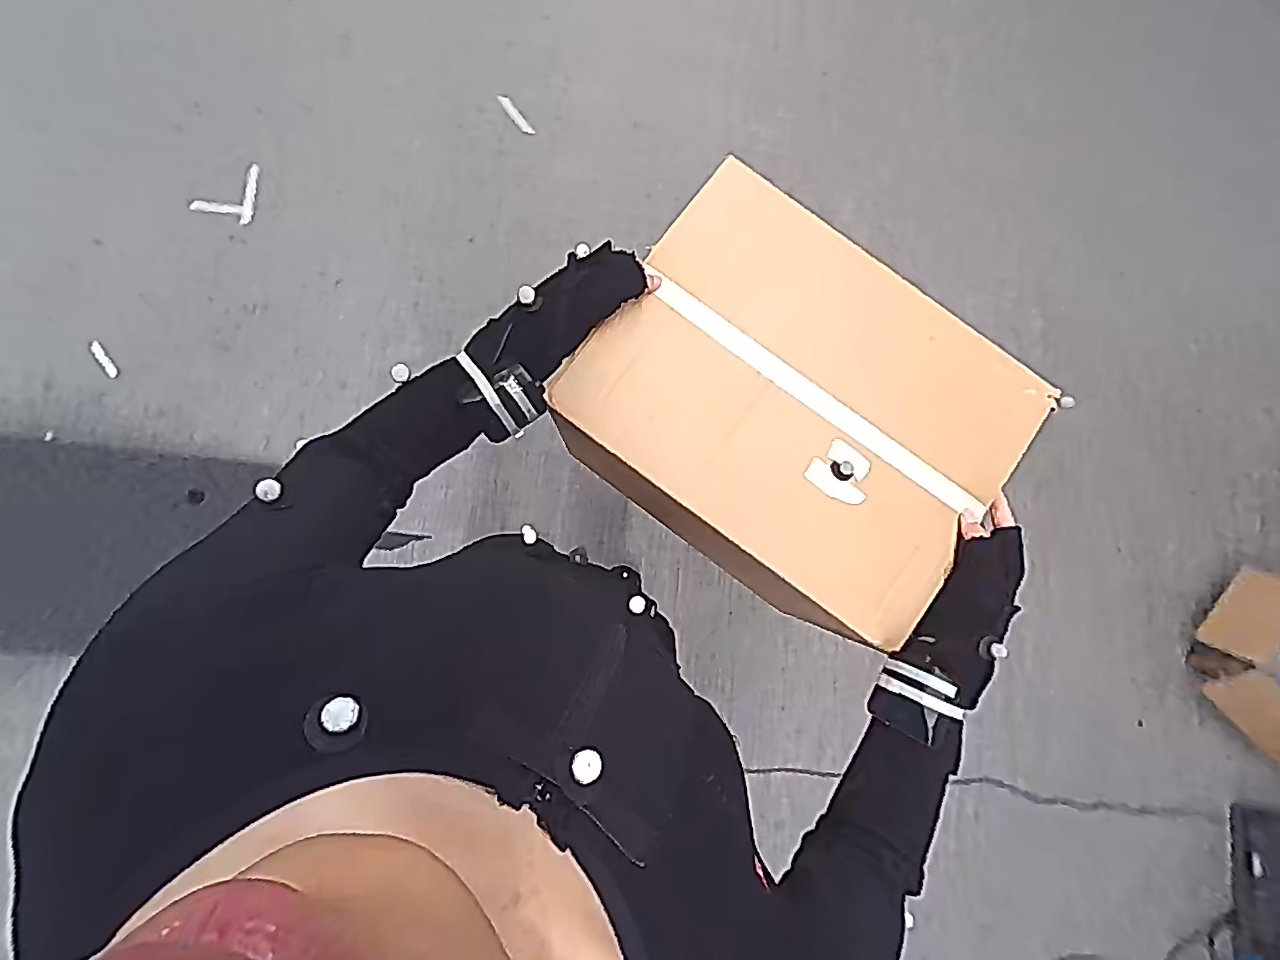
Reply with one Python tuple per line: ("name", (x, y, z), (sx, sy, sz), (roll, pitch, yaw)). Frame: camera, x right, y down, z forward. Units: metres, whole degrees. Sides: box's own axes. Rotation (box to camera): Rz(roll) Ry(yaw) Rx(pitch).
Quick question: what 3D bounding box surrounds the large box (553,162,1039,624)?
("large box", (0.150, -0.079, 0.679), (0.408, 0.320, 0.320), (35, 84, 1))
